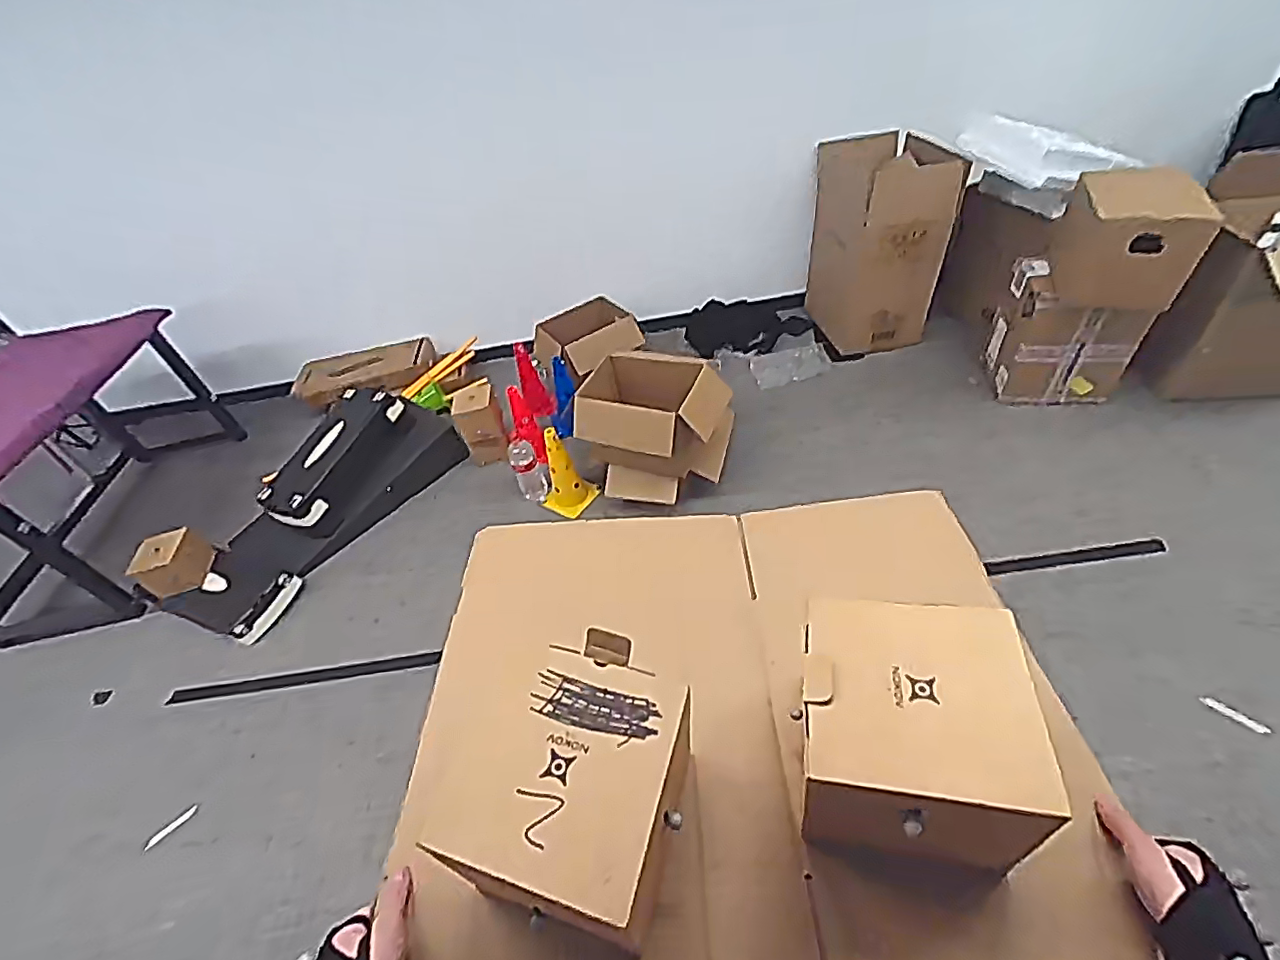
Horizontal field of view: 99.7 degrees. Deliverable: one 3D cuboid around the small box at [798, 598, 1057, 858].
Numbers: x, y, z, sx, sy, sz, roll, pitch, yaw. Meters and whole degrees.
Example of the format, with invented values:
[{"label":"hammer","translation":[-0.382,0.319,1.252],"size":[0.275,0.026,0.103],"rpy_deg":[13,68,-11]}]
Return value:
[{"label":"small box","translation":[0.243,0.232,0.509],"size":[0.179,0.176,0.168],"rpy_deg":[0,45,17]}]
